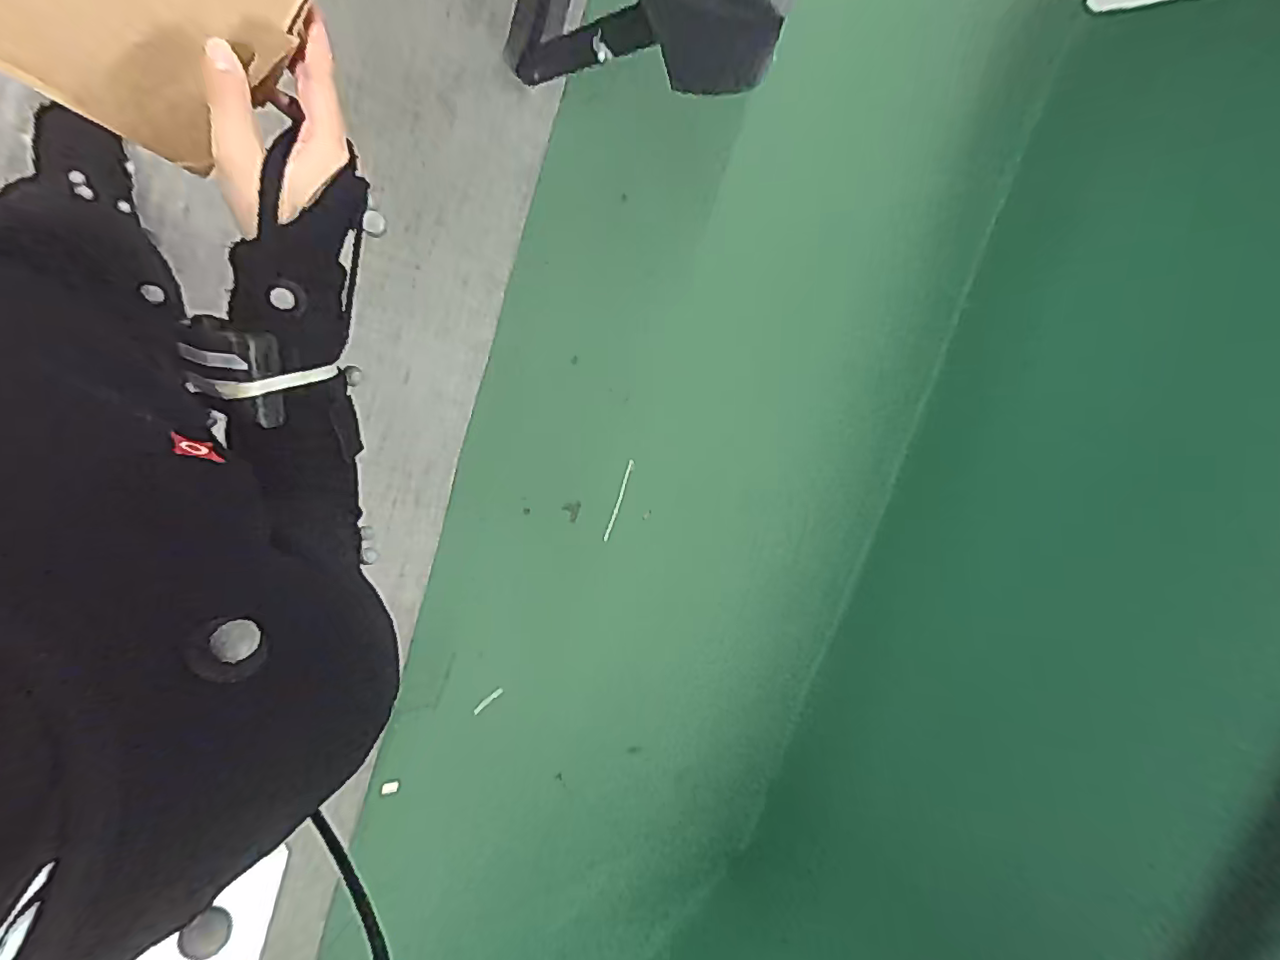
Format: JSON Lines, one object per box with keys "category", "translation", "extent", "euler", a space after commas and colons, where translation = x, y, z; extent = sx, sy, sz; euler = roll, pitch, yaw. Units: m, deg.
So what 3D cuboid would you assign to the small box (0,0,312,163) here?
{"category": "small box", "translation": [-0.278, -0.316, 0.267], "extent": [0.168, 0.176, 0.179], "euler": [-39, 149, 21]}
